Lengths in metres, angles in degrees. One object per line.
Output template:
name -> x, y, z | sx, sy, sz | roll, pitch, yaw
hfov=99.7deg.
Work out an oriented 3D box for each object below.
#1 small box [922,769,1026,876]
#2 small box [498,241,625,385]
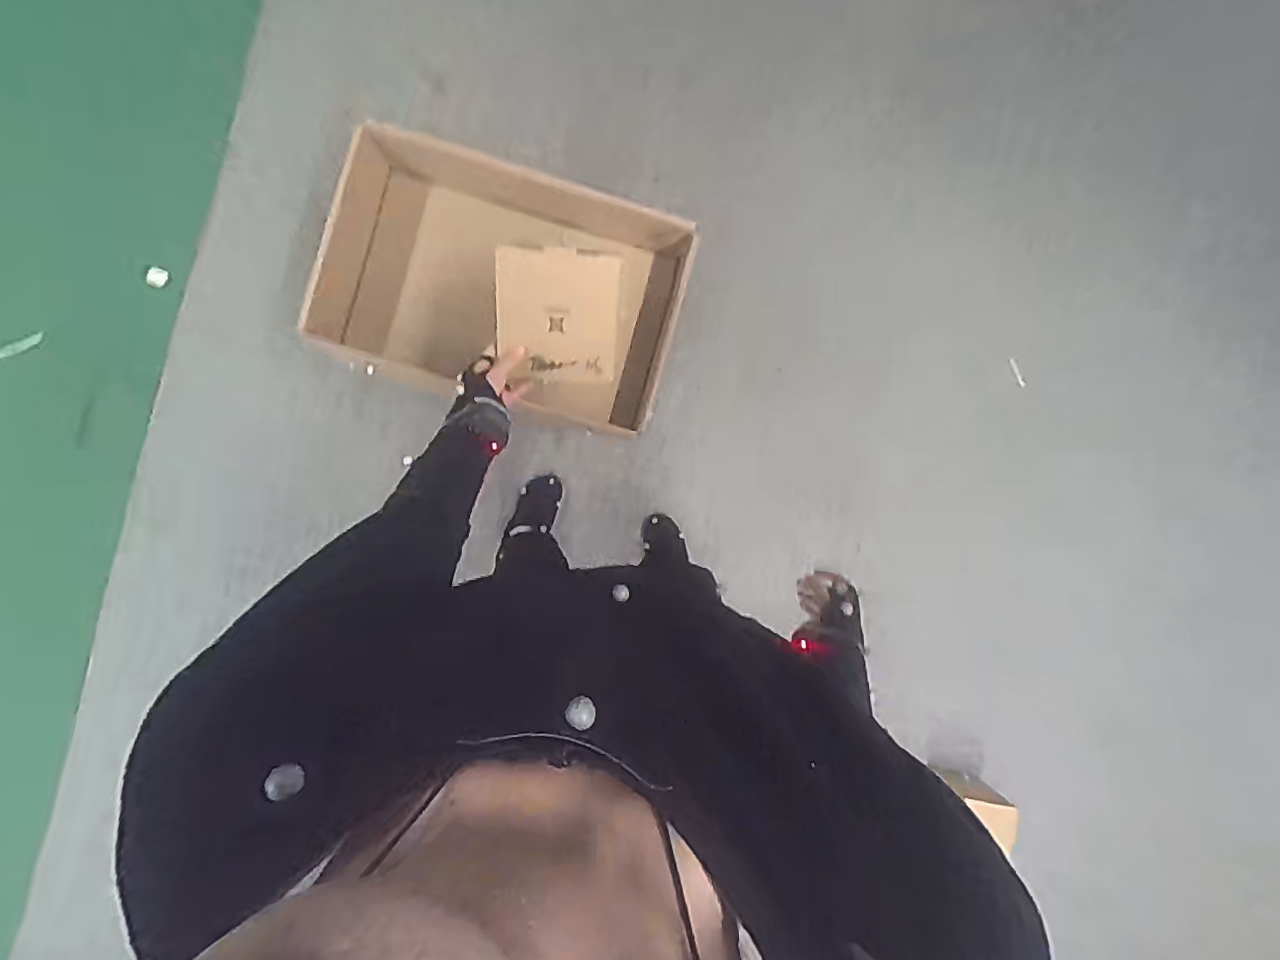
small box -> 0.920, 0.947, 1.506 | 0.168, 0.176, 0.179 | 13, 88, -5
small box -> -0.115, -0.253, 0.809 | 0.168, 0.176, 0.179 | 4, 113, -5
